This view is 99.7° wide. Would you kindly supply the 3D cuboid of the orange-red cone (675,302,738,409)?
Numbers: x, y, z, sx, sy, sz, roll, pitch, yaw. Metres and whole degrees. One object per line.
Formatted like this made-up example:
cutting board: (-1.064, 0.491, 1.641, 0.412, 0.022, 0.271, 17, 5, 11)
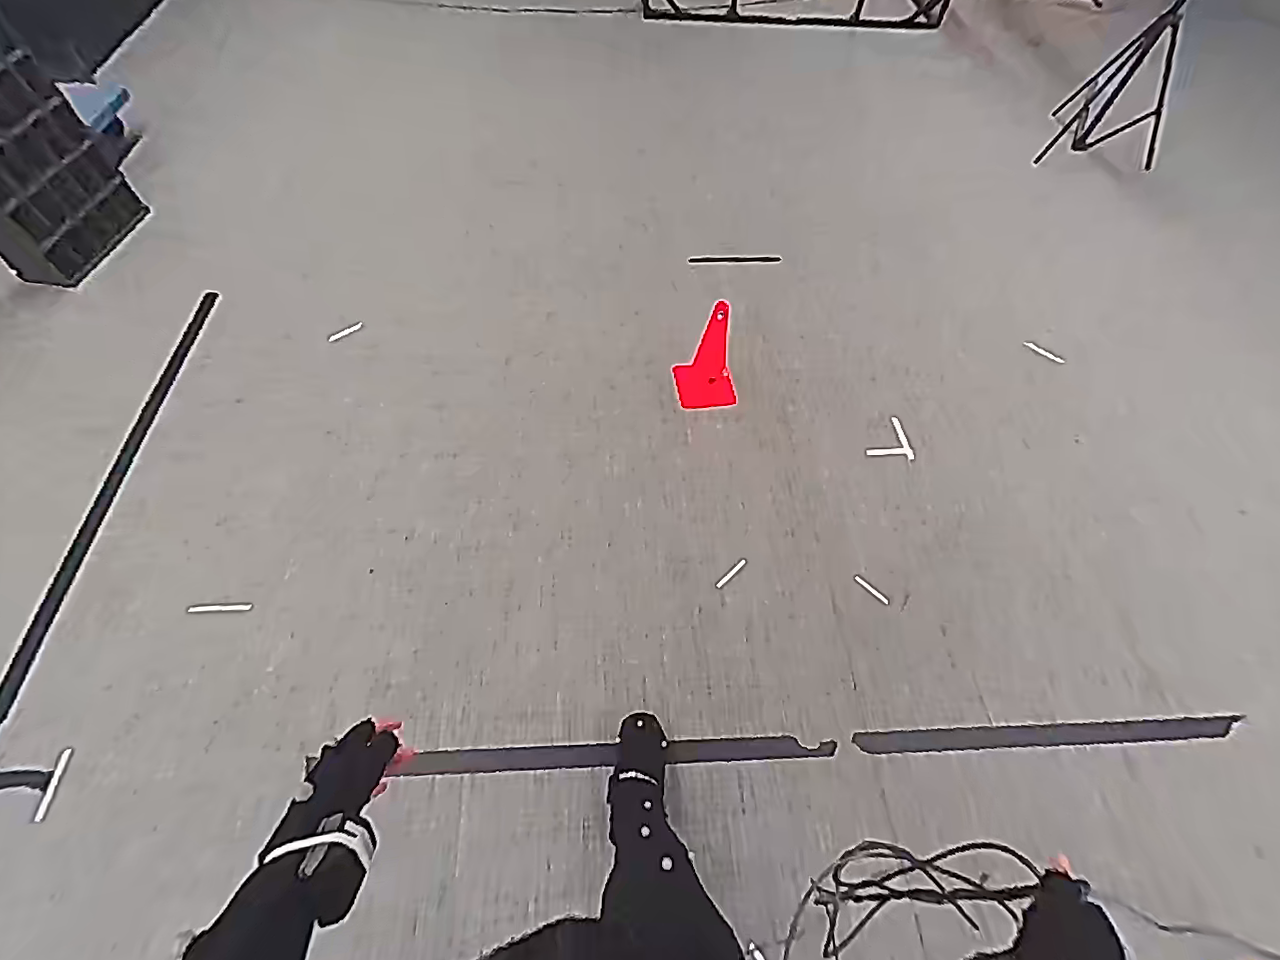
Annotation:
orange-red cone: (0.235, -0.417, 1.736, 0.199, 0.360, 0.198, -5, 58, -5)
